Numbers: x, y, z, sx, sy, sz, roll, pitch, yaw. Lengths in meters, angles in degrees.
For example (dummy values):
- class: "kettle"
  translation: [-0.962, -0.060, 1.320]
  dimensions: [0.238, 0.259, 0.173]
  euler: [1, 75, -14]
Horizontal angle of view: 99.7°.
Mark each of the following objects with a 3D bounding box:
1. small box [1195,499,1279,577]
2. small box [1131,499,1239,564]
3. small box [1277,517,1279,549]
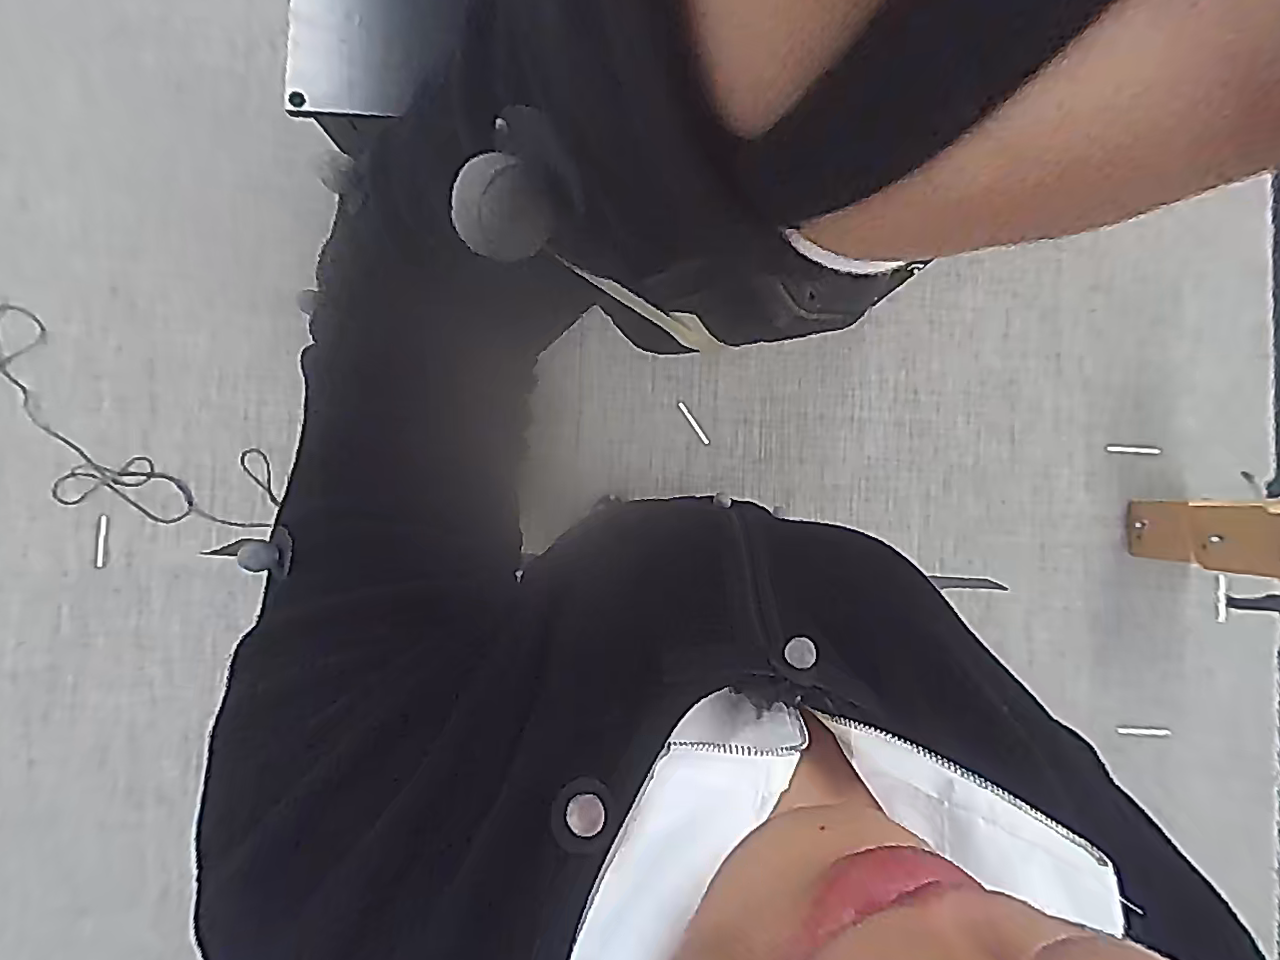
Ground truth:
- class: "small box"
  translation: [1.510, 0.132, 1.298]
  dimensions: [0.179, 0.176, 0.168]
  euler: [-6, 87, -2]
- class: "small box"
  translation: [1.492, 0.135, 1.462]
  dimensions: [0.179, 0.176, 0.168]
  euler: [-1, 87, 0]
- class: "small box"
  translation: [1.511, 0.138, 1.134]
  dimensions: [0.179, 0.176, 0.168]
  euler: [-8, 88, -2]
